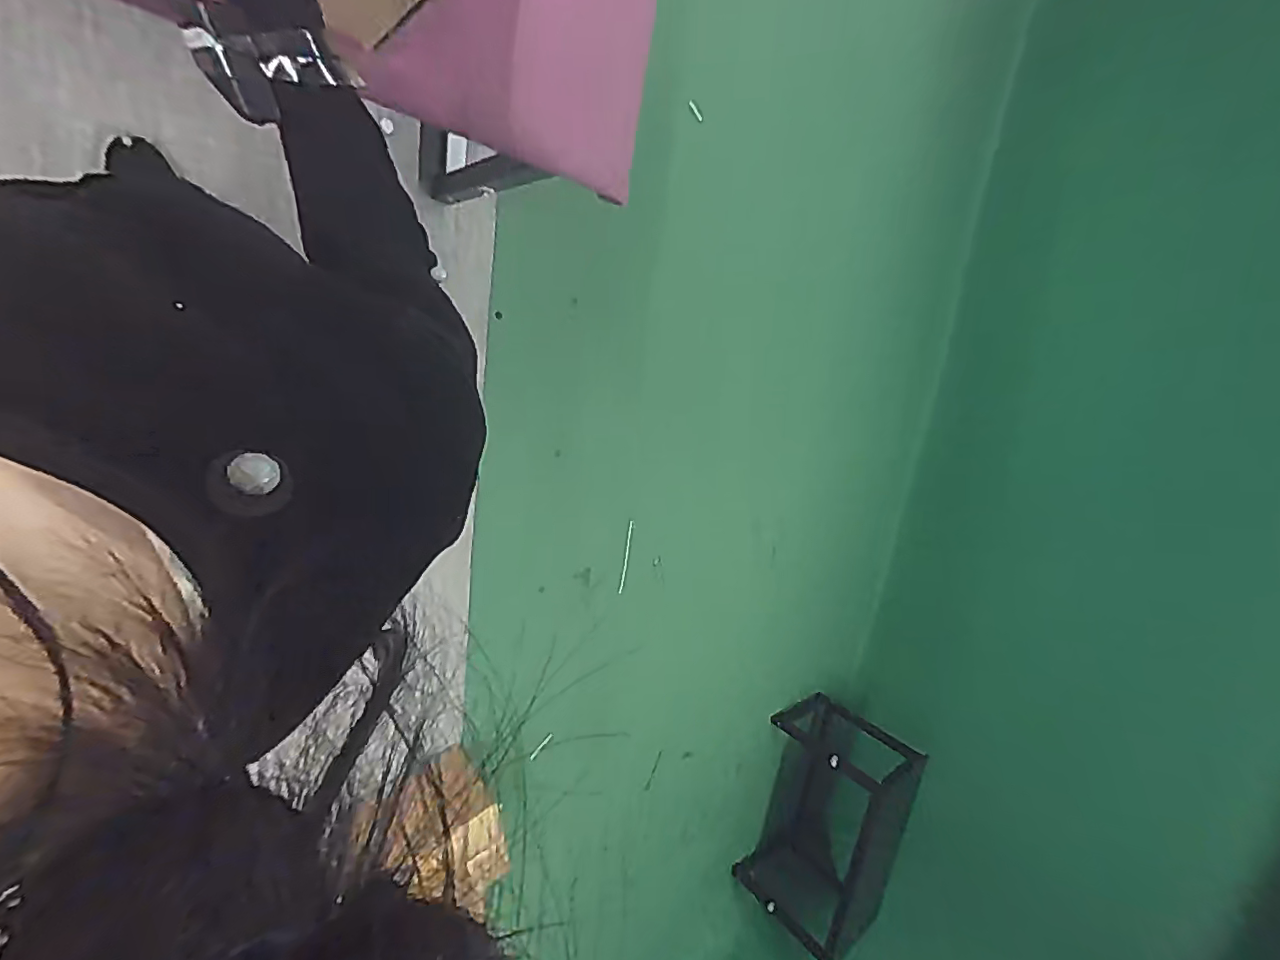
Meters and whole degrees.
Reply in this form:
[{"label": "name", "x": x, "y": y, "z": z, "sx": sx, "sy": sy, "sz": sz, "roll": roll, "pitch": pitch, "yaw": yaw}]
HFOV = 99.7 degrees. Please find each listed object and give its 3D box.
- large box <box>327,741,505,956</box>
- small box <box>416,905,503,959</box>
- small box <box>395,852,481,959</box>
[{"label": "large box", "x": -0.698, "y": 1.130, "z": 1.708, "sx": 0.408, "sy": 0.320, "sz": 0.320, "roll": -21, "pitch": 120, "yaw": -37}, {"label": "small box", "x": -0.464, "y": 1.253, "z": 1.394, "sx": 0.168, "sy": 0.176, "sz": 0.179, "roll": -14, "pitch": 114, "yaw": -38}, {"label": "small box", "x": -0.562, "y": 1.204, "z": 1.516, "sx": 0.179, "sy": 0.176, "sz": 0.168, "roll": -16, "pitch": 114, "yaw": -37}]
